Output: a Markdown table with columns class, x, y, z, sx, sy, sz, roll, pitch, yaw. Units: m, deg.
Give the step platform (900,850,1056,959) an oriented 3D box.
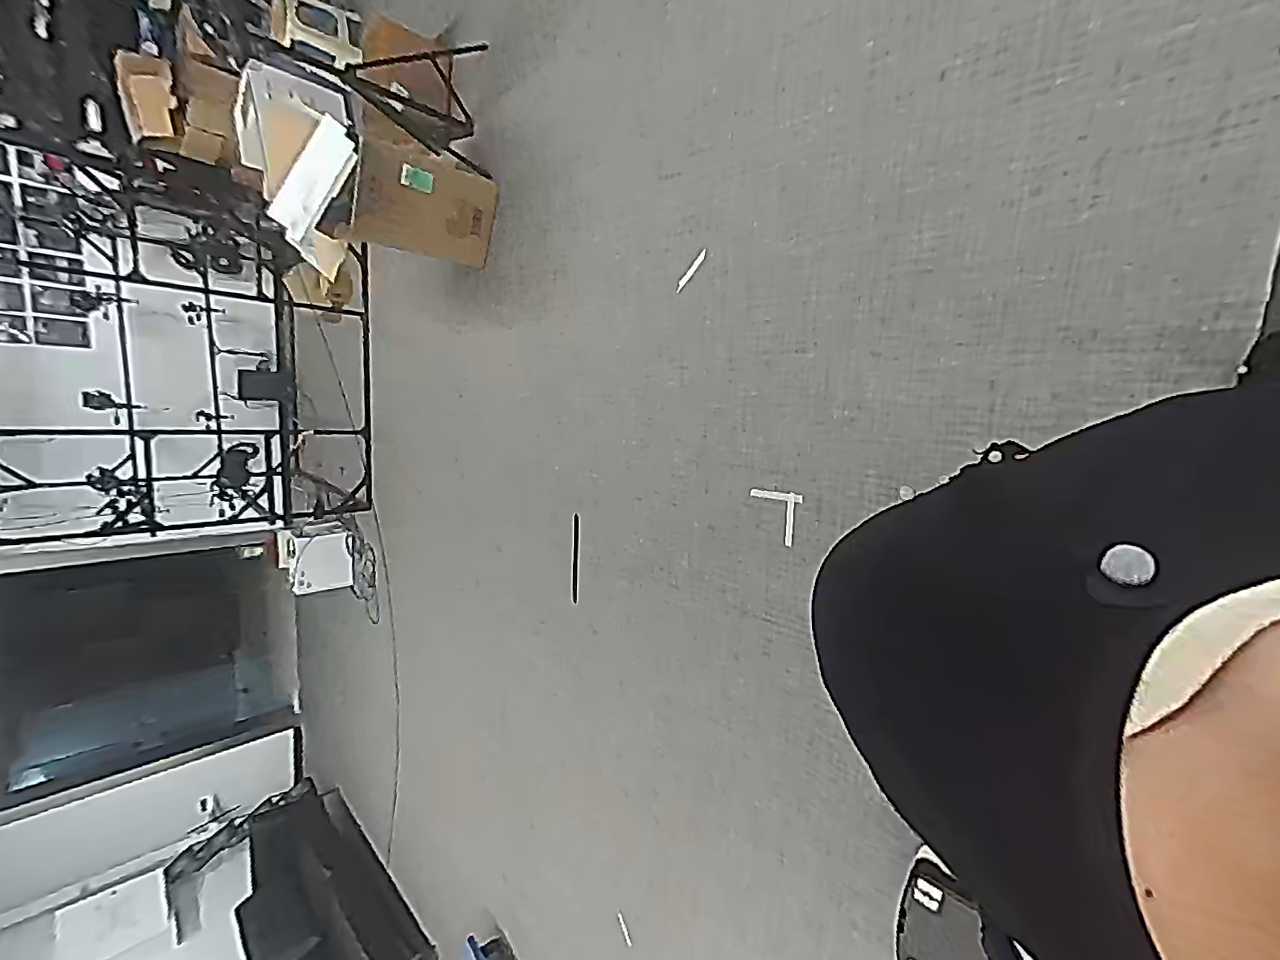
| class | x | y | z | sx | sy | sz | roll | pitch | yaw |
| --- | --- | --- | --- | --- | --- | --- | --- | --- | --- |
| step platform | 0.876 | 1.085 | 1.033 | 0.684 | 0.204 | 0.286 | 19 | 105 | 45 |
